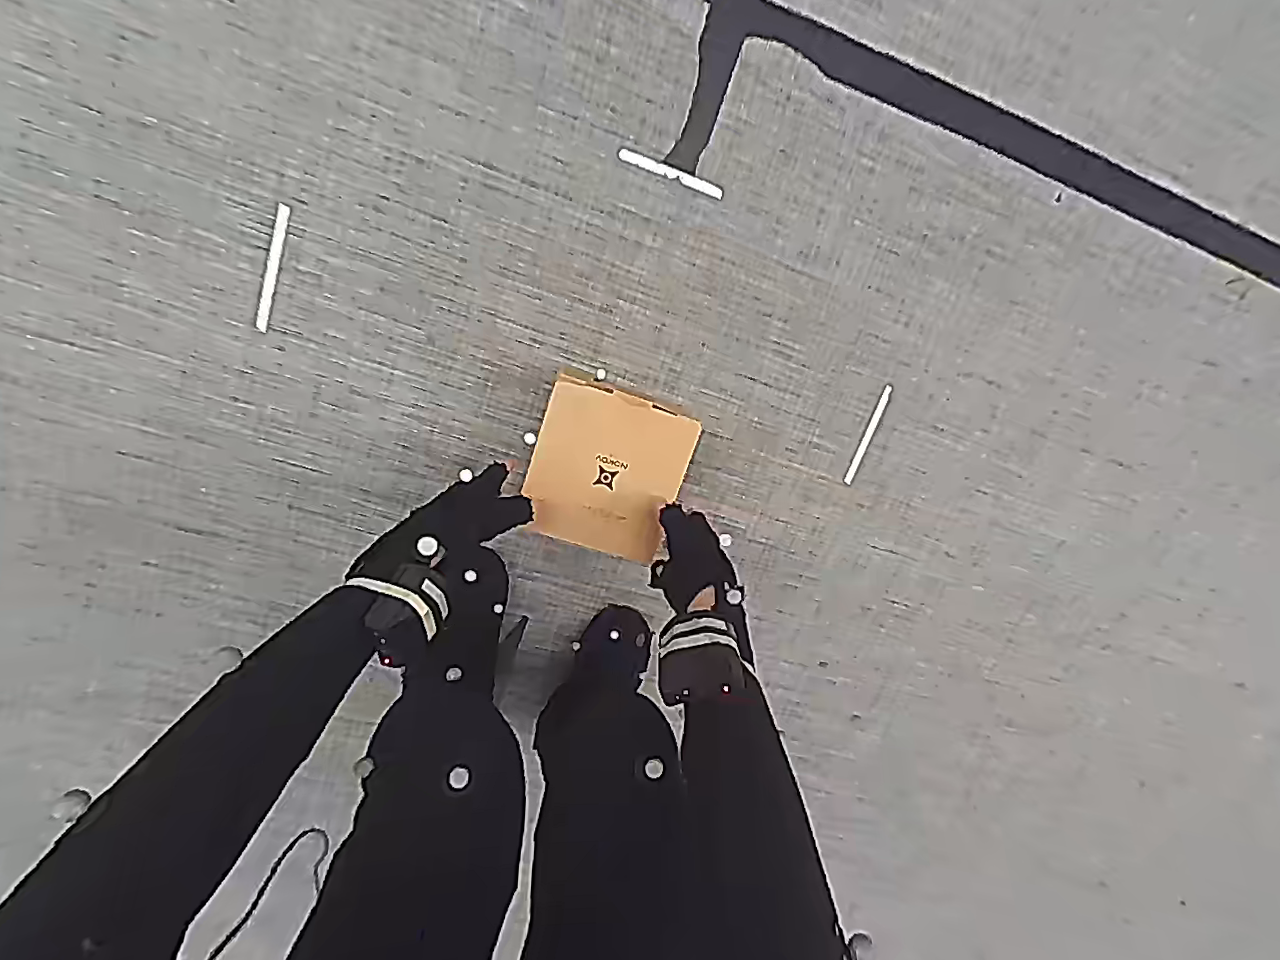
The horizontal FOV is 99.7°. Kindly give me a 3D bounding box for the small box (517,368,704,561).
[{"bbox_3d":[-0.041,-0.030,0.666,0.168,0.176,0.179,18,102,-9],"label":"small box"}]
